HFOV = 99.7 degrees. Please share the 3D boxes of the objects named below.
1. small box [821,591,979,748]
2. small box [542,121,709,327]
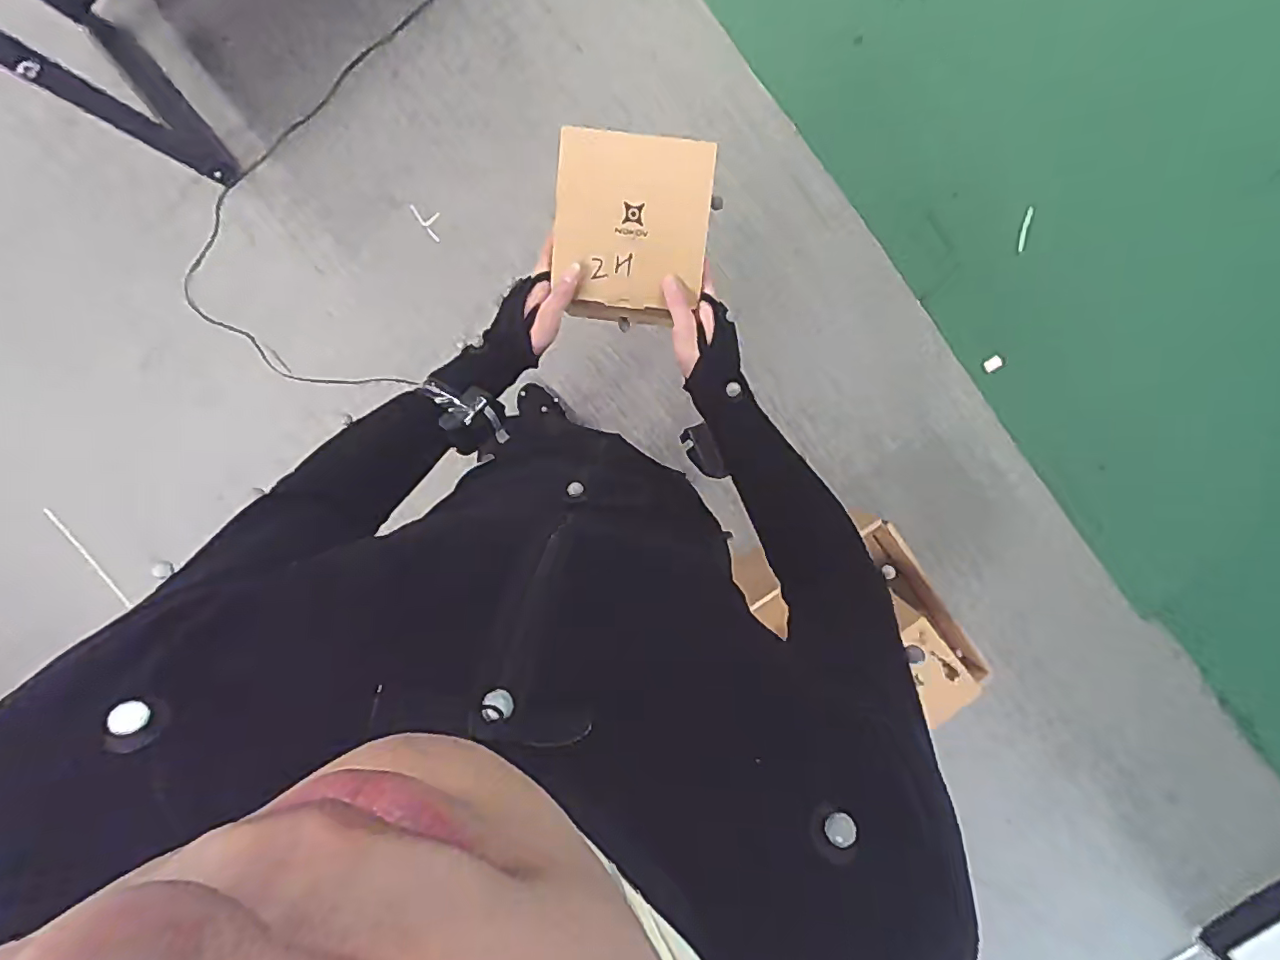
[{"bbox_3d":[0.449,0.331,0.975,0.179,0.176,0.168,-39,92,7],"label":"small box"},{"bbox_3d":[-0.018,-0.291,0.652,0.168,0.176,0.179,6,100,-1],"label":"small box"}]
